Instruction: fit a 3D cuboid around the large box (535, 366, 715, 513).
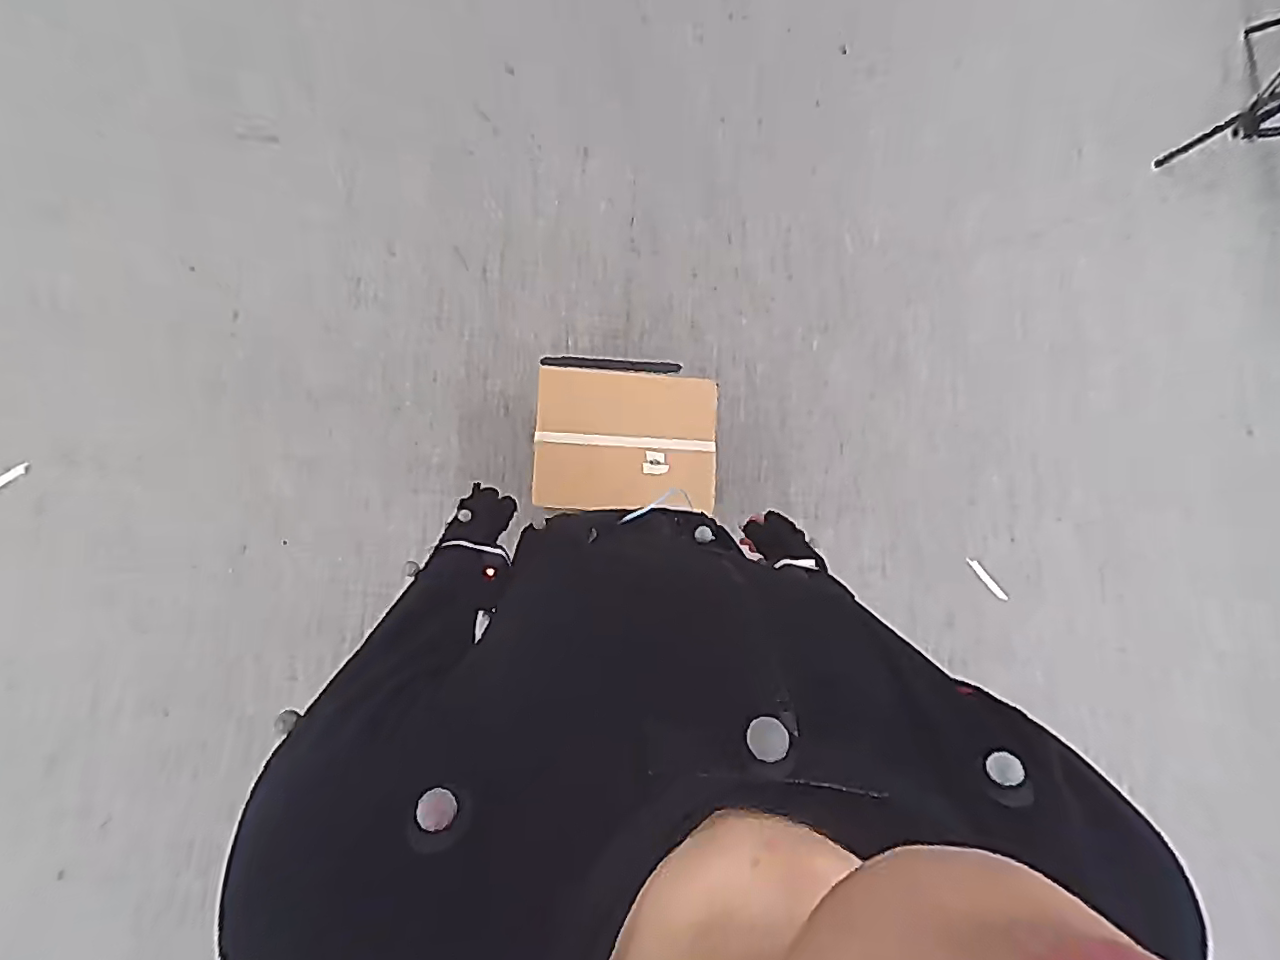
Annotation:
[{"bbox_3d":[-0.048,-0.081,1.366,0.408,0.320,0.320,4,85,-6],"label":"large box"}]
